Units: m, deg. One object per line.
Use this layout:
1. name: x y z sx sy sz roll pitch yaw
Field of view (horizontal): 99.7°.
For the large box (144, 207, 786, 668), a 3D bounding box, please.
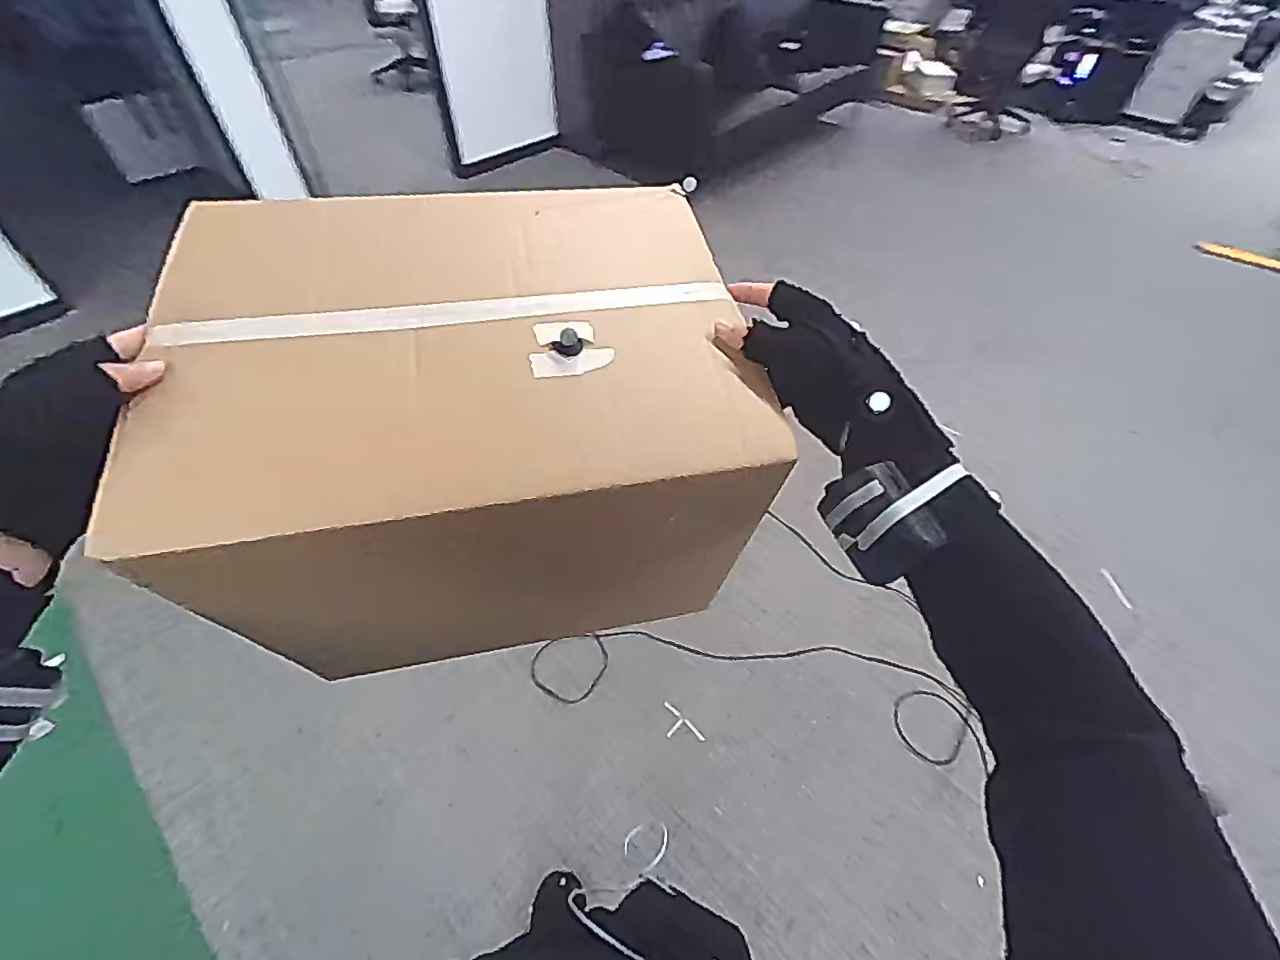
1. large box: -0.135 -0.037 0.540 0.408 0.320 0.320 -7 60 -12
